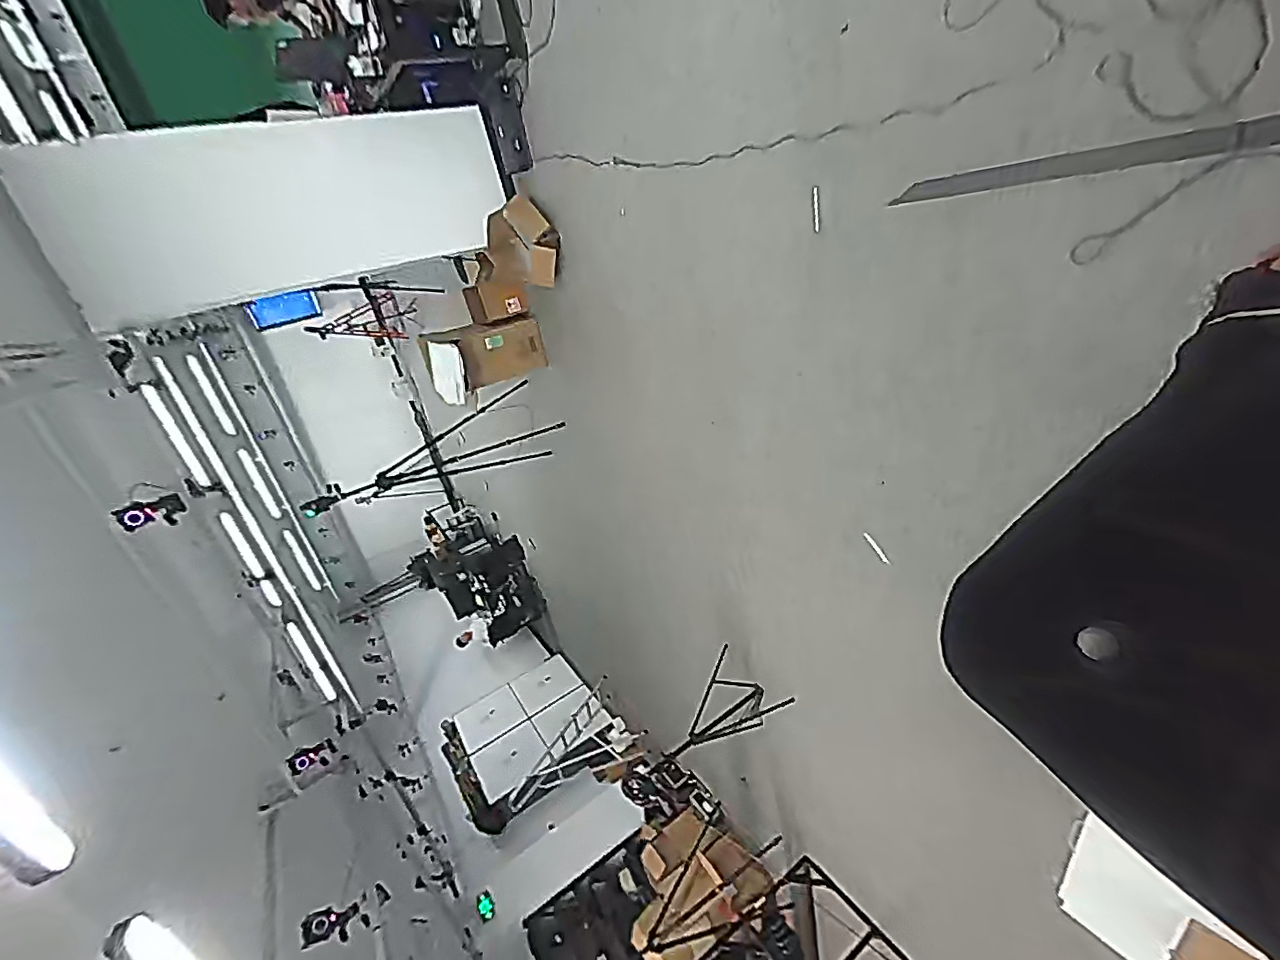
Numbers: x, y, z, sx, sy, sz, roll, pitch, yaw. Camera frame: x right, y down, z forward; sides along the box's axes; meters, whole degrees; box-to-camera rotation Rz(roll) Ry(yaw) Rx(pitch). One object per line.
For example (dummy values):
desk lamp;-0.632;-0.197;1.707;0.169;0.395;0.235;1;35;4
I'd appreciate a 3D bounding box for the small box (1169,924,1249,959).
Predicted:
small box;1.121;1.017;1.028;0.179;0.176;0.168;20;130;57
